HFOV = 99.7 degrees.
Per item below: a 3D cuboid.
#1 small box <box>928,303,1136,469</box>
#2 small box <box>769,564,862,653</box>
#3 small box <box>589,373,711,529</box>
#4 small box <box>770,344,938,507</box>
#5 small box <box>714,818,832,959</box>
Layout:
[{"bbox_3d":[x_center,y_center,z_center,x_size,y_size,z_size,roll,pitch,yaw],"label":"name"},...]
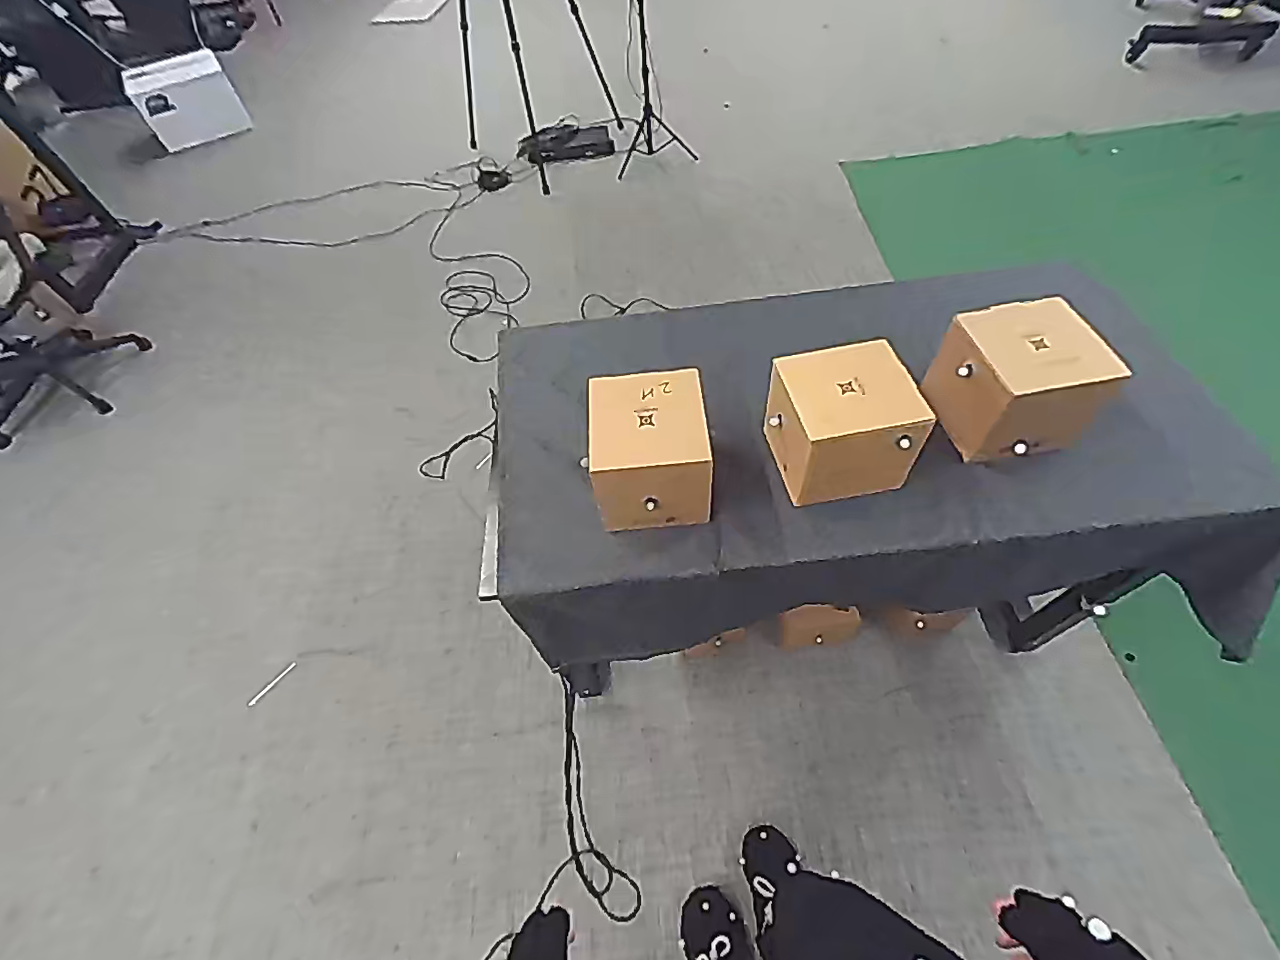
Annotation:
[{"bbox_3d":[0.579,-0.141,0.833,0.168,0.176,0.179,-9,55,1],"label":"small box"},{"bbox_3d":[0.446,0.336,1.403,0.179,0.176,0.168,-9,55,1],"label":"small box"},{"bbox_3d":[0.018,-0.035,0.818,0.168,0.176,0.179,-4,55,2],"label":"small box"},{"bbox_3d":[0.304,-0.076,0.819,0.179,0.176,0.168,-10,55,-1],"label":"small box"},{"bbox_3d":[0.273,0.841,1.083,0.168,0.176,0.179,5,26,42],"label":"small box"}]
